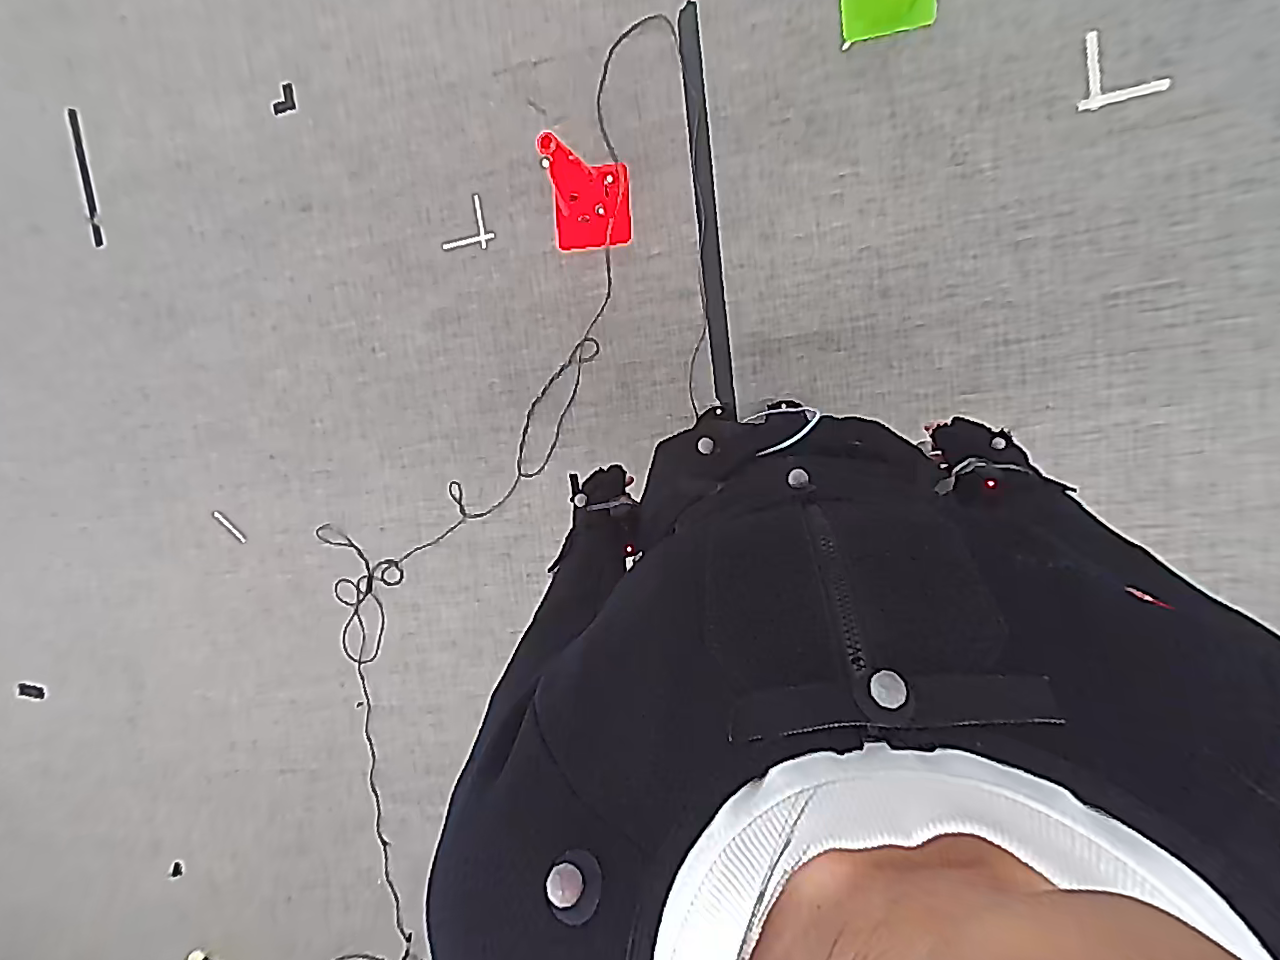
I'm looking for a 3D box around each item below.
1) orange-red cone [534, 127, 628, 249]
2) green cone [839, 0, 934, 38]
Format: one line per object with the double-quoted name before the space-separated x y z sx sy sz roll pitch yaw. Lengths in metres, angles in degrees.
"orange-red cone" -0.160 -0.684 1.221 0.199 0.360 0.198 -1 96 11
"green cone" 0.523 -1.090 1.043 0.202 0.368 0.200 -6 97 10
